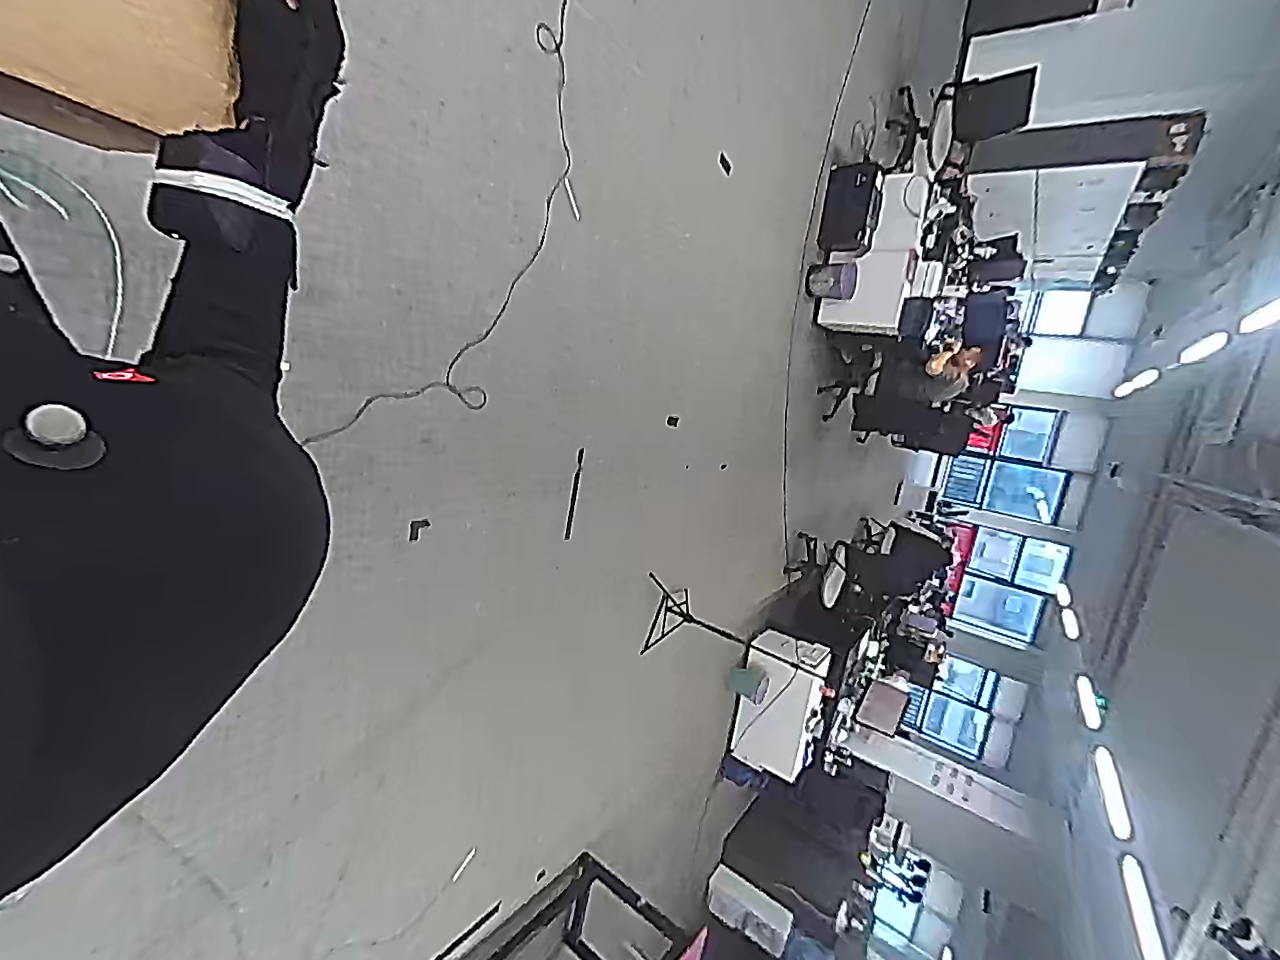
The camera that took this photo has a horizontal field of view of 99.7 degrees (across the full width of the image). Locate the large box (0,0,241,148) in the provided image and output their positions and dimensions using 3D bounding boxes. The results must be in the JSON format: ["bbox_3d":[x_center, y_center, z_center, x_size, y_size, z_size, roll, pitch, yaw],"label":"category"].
[{"bbox_3d":[-0.495,-0.429,0.278,0.408,0.320,0.320,-3,113,-57],"label":"large box"}]
